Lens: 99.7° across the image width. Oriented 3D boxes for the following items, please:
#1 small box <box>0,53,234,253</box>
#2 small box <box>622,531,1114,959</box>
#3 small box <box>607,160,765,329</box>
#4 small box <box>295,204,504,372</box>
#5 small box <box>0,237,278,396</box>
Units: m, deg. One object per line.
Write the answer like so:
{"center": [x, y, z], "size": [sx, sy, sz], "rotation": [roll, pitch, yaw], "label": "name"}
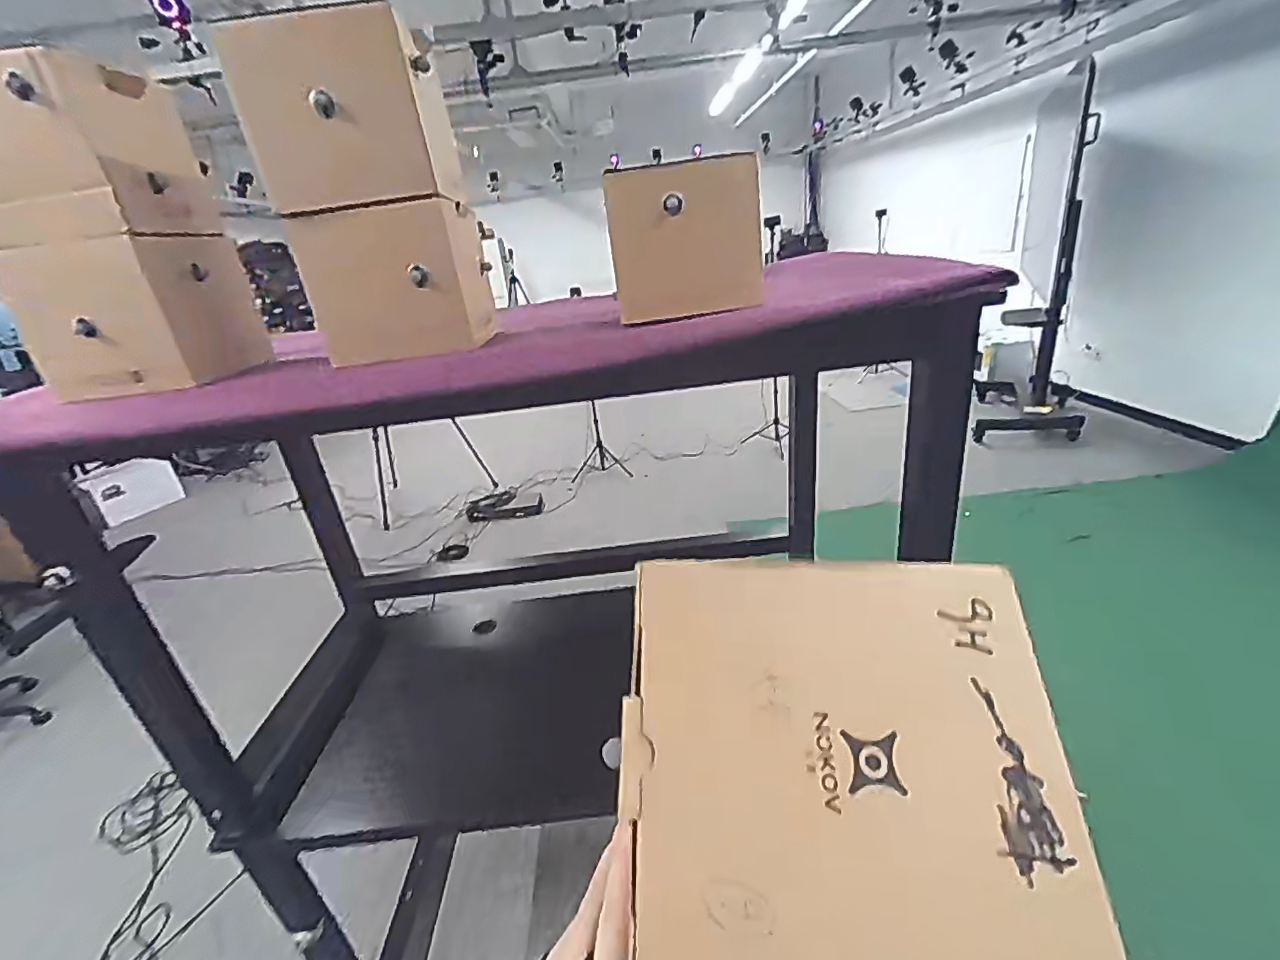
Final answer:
{"center": [-0.627, -0.354, 0.621], "size": [0.179, 0.176, 0.168], "rotation": [-7, 24, -3], "label": "small box"}
{"center": [0.086, 0.136, 0.299], "size": [0.179, 0.176, 0.168], "rotation": [1, 63, 2], "label": "small box"}
{"center": [0.059, -0.298, 0.710], "size": [0.179, 0.176, 0.168], "rotation": [-6, 21, 2], "label": "small box"}
{"center": [-0.286, -0.244, 0.693], "size": [0.179, 0.176, 0.168], "rotation": [-8, 22, 0], "label": "small box"}
{"center": [-0.605, -0.207, 0.686], "size": [0.168, 0.176, 0.179], "rotation": [-6, 23, -1], "label": "small box"}
